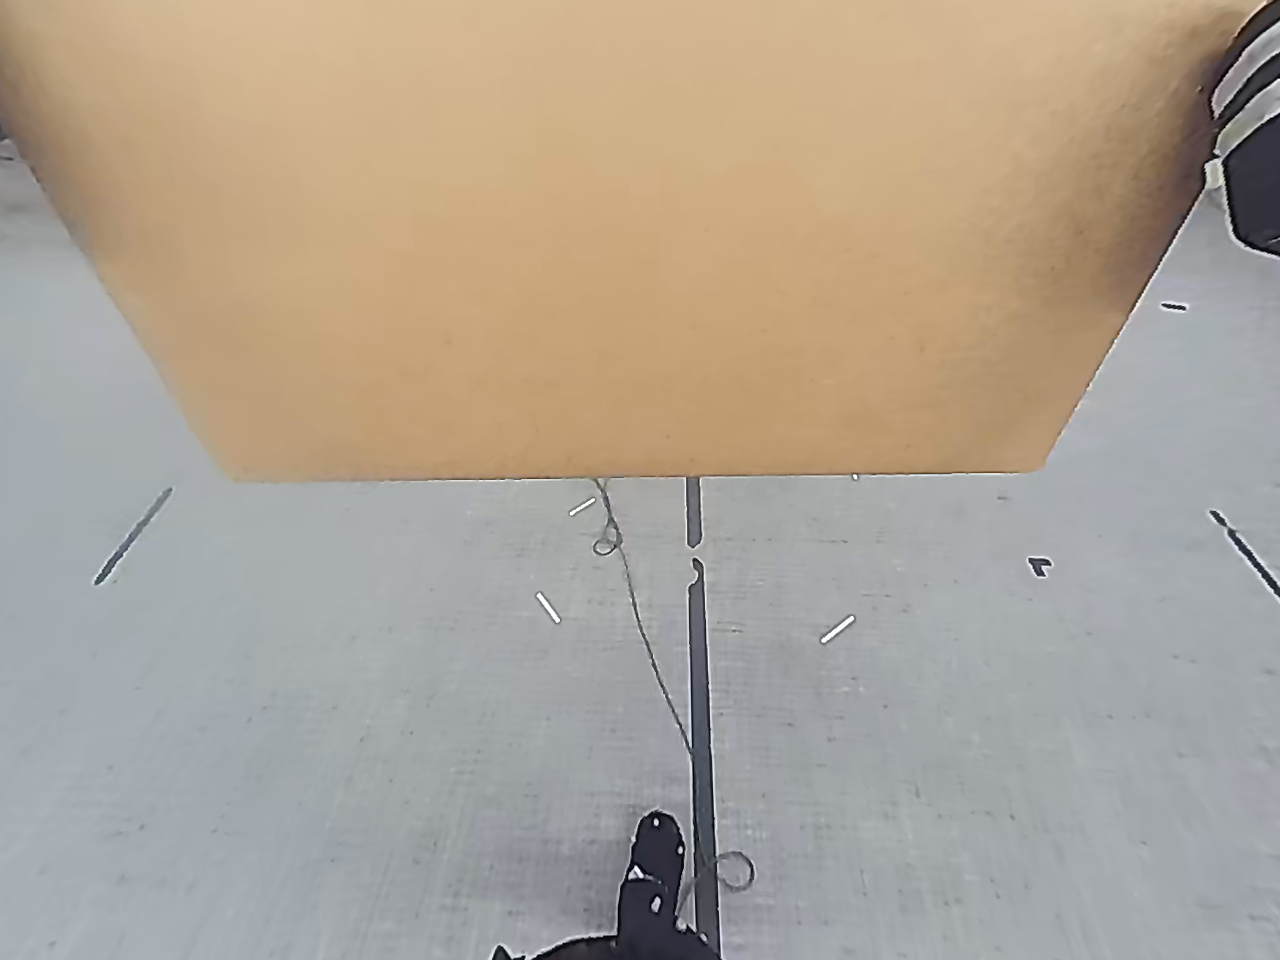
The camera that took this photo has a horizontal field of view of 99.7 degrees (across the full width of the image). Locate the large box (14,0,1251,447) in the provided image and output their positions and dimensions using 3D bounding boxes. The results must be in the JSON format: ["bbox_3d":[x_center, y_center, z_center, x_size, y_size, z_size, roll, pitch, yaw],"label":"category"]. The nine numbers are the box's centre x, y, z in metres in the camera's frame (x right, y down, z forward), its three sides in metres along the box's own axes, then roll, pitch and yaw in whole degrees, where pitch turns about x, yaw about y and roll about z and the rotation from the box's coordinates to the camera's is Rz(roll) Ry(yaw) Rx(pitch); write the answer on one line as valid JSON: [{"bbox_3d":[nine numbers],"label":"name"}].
[{"bbox_3d":[-0.002,-0.226,0.299,0.408,0.320,0.320,0,39,-2],"label":"large box"}]
